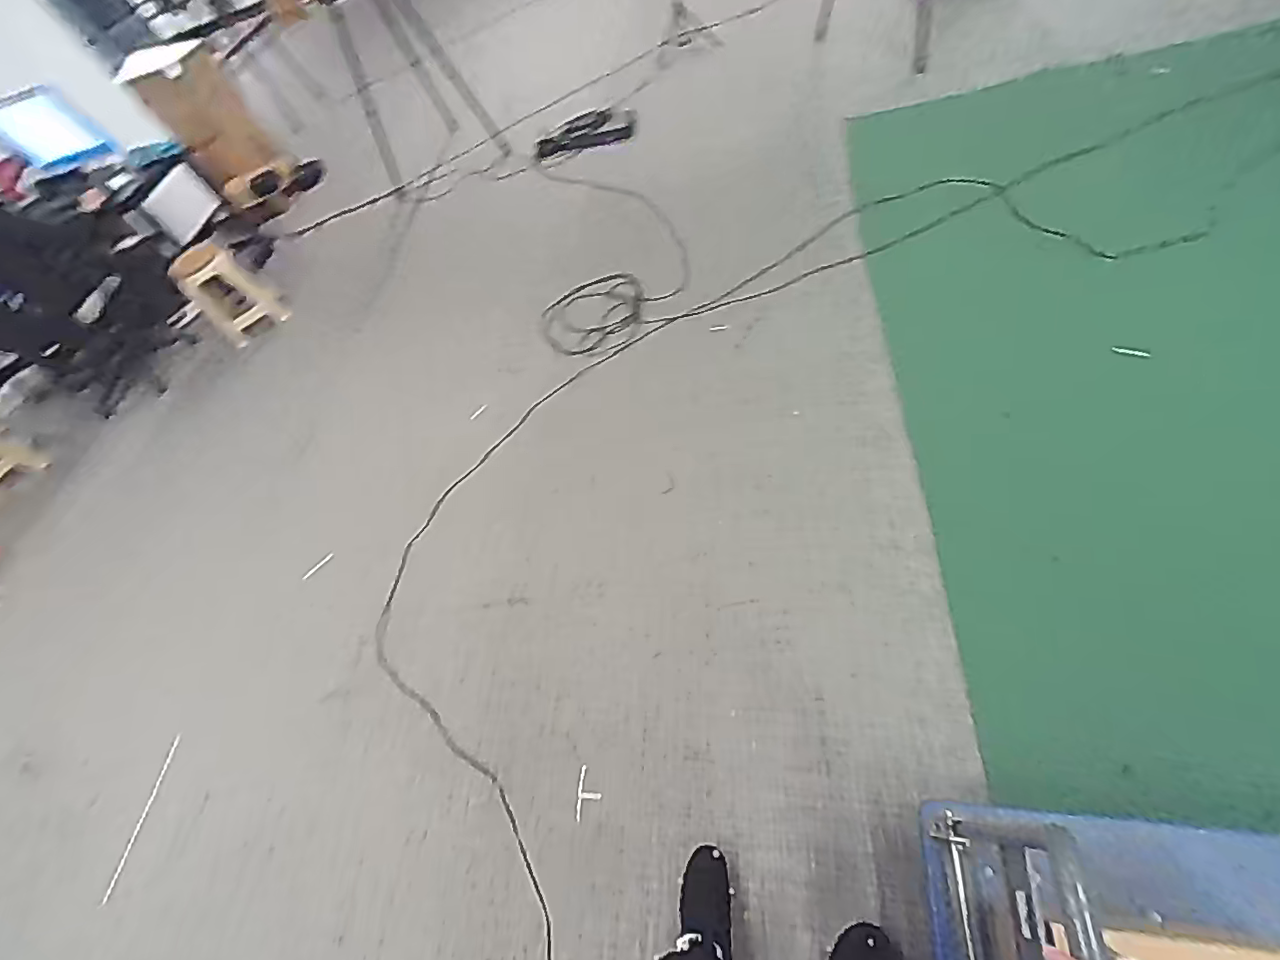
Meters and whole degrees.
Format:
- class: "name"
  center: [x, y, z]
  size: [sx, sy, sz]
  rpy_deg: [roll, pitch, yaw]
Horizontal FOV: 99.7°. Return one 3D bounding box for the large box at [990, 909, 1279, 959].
- class: "large box"
  center: [0.790, 0.834, 0.758]
  size: [0.408, 0.320, 0.320]
  rpy_deg: [-2, 58, 15]
